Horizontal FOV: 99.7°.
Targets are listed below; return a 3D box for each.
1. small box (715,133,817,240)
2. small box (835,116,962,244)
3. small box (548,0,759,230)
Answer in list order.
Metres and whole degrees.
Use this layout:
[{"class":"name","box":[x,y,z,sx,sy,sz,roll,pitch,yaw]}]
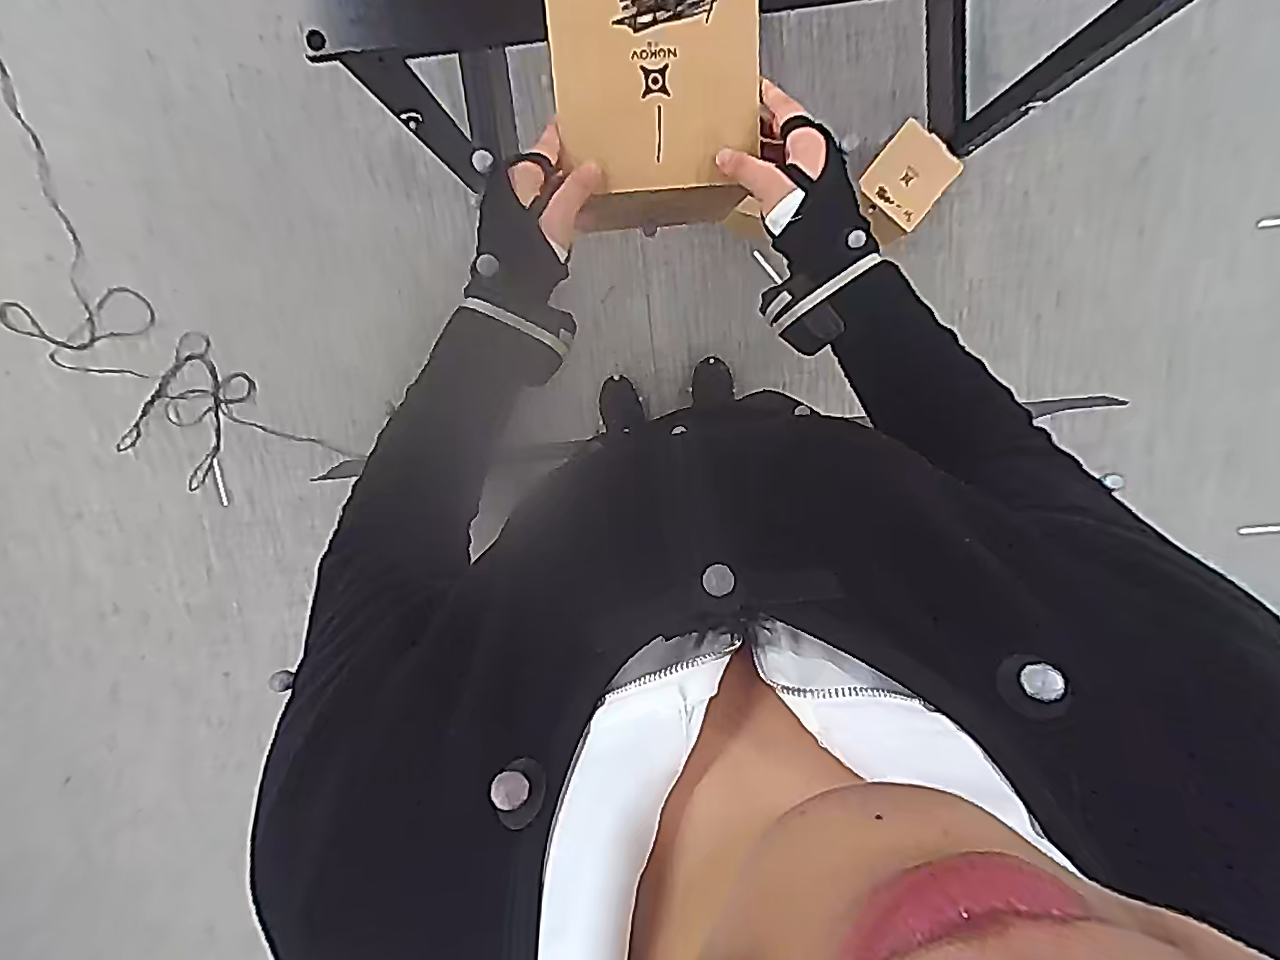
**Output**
[{"class":"small box","box":[0.289,-0.684,1.277,0.179,0.176,0.168,15,101,-1]},{"class":"small box","box":[0.592,-0.689,1.265,0.168,0.176,0.179,37,101,-6]},{"class":"small box","box":[0.009,-0.346,0.502,0.168,0.176,0.179,-4,106,0]}]
